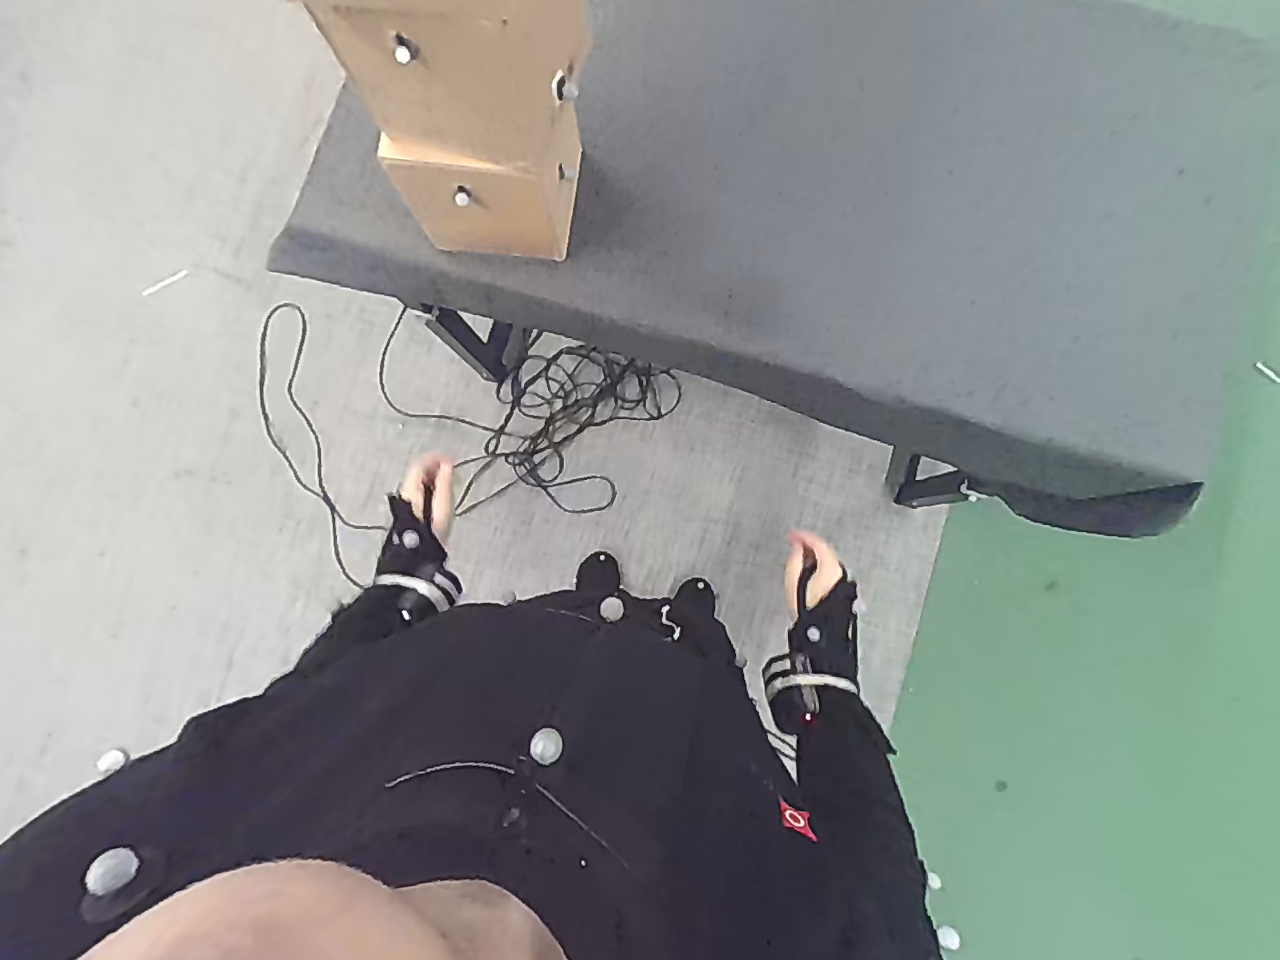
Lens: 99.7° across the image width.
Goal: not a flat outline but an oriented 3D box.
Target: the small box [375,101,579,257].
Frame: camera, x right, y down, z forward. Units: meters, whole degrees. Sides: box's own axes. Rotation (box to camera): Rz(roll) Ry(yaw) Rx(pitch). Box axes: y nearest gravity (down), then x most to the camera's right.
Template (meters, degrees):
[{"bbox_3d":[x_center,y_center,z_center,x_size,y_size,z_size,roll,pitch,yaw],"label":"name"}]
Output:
[{"bbox_3d":[-0.174,-0.386,0.638,0.179,0.176,0.168,7,83,2],"label":"small box"}]

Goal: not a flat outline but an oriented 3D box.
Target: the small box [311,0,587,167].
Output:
[{"bbox_3d":[-0.159,-0.416,0.478,0.179,0.176,0.168,16,84,2],"label":"small box"}]
